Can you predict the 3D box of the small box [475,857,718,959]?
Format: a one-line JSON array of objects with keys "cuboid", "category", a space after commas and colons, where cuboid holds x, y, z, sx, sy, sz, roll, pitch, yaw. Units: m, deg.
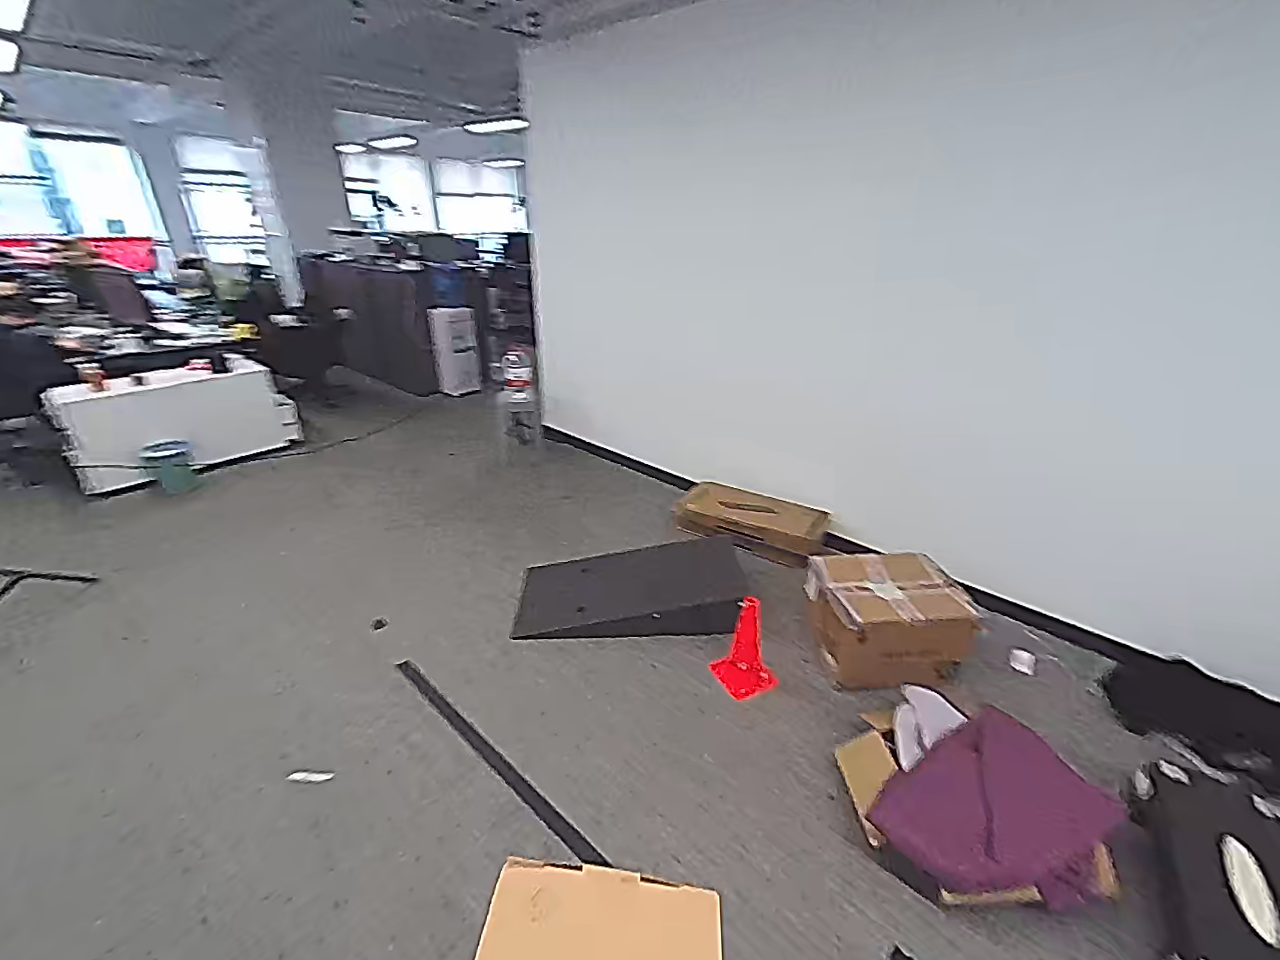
[{"cuboid": [-0.040, 0.407, 0.372, 0.168, 0.176, 0.179, 7, 30, 1], "category": "small box"}]
